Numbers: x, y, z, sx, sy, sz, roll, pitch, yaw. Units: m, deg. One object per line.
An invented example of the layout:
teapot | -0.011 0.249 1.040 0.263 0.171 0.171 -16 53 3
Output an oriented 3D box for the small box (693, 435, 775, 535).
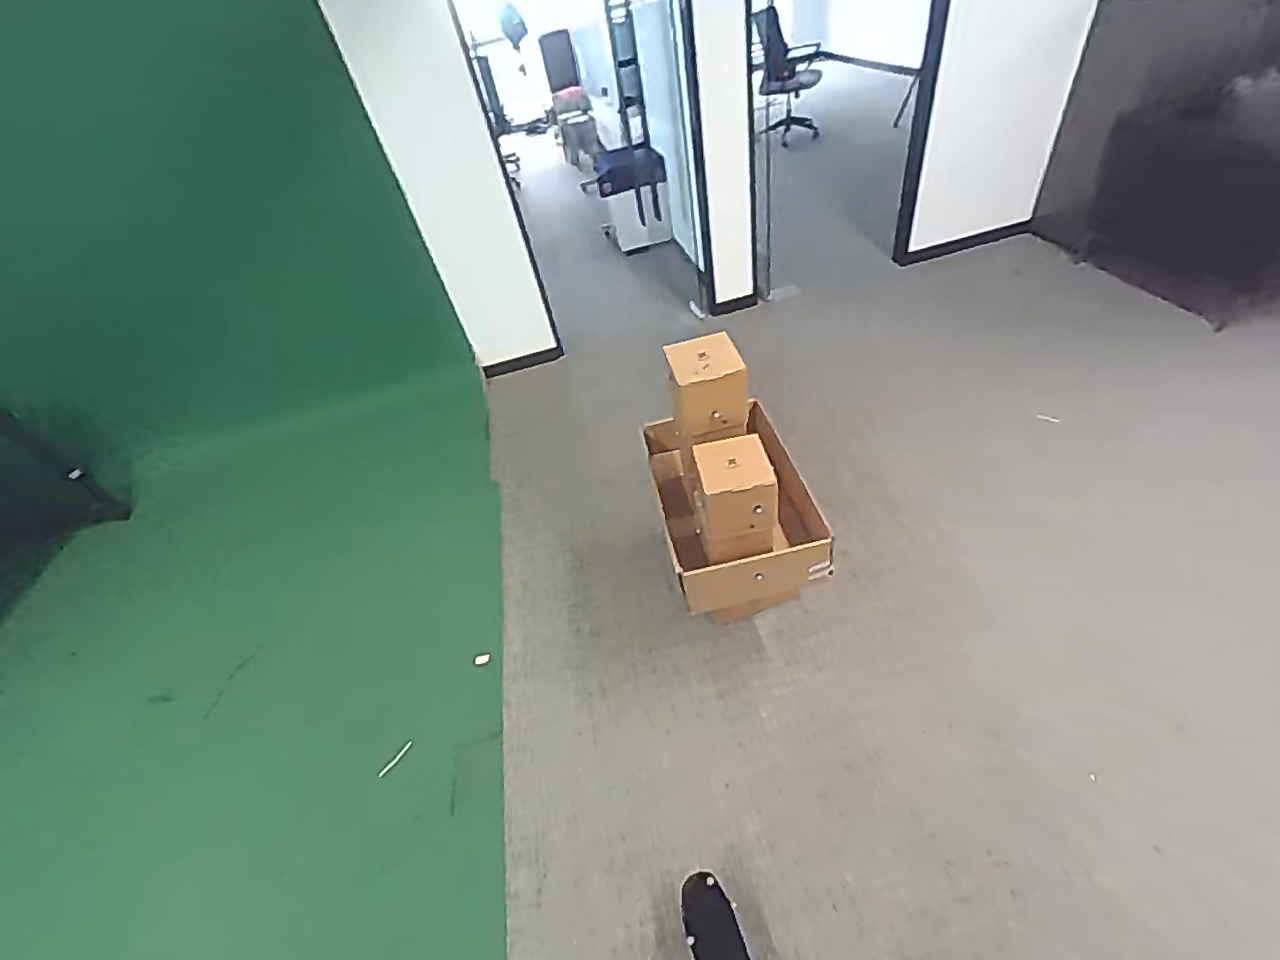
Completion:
small box | 0.231 0.019 1.325 0.168 0.176 0.179 -10 43 2

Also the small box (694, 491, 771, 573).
small box | 0.248 0.130 1.443 0.168 0.176 0.179 -13 43 1

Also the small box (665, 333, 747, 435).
small box | 0.167 -0.243 1.374 0.168 0.176 0.179 -14 47 -1

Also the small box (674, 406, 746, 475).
small box | 0.191 -0.140 1.503 0.168 0.176 0.179 -12 47 0
